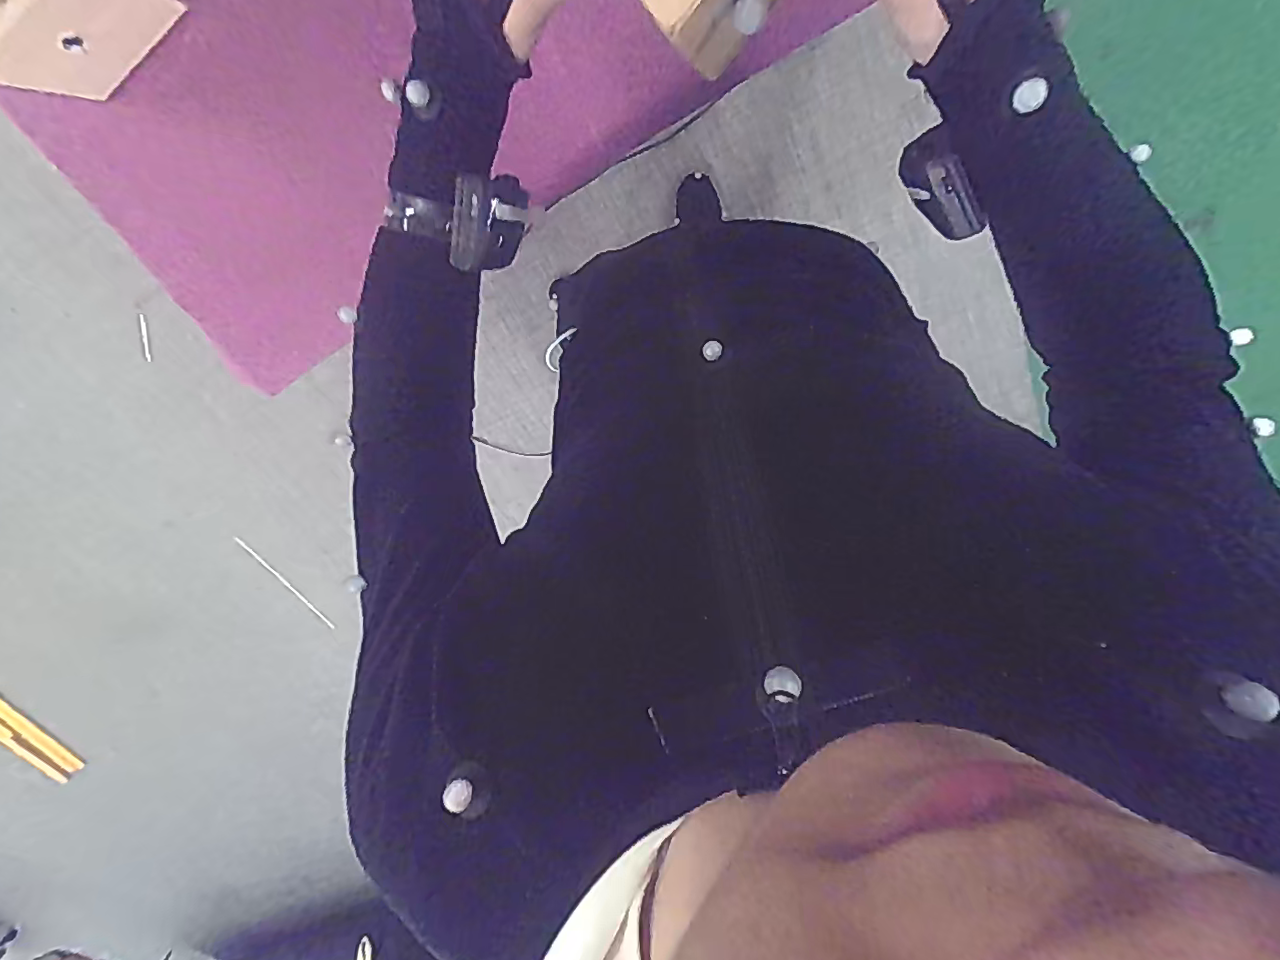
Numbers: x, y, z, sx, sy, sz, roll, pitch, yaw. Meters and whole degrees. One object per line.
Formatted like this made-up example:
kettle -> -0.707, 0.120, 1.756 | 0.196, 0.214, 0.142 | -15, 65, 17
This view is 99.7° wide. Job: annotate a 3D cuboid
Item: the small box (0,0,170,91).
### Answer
small box -> -0.644, -0.540, 0.550 | 0.179, 0.176, 0.168 | -29, 114, 16
